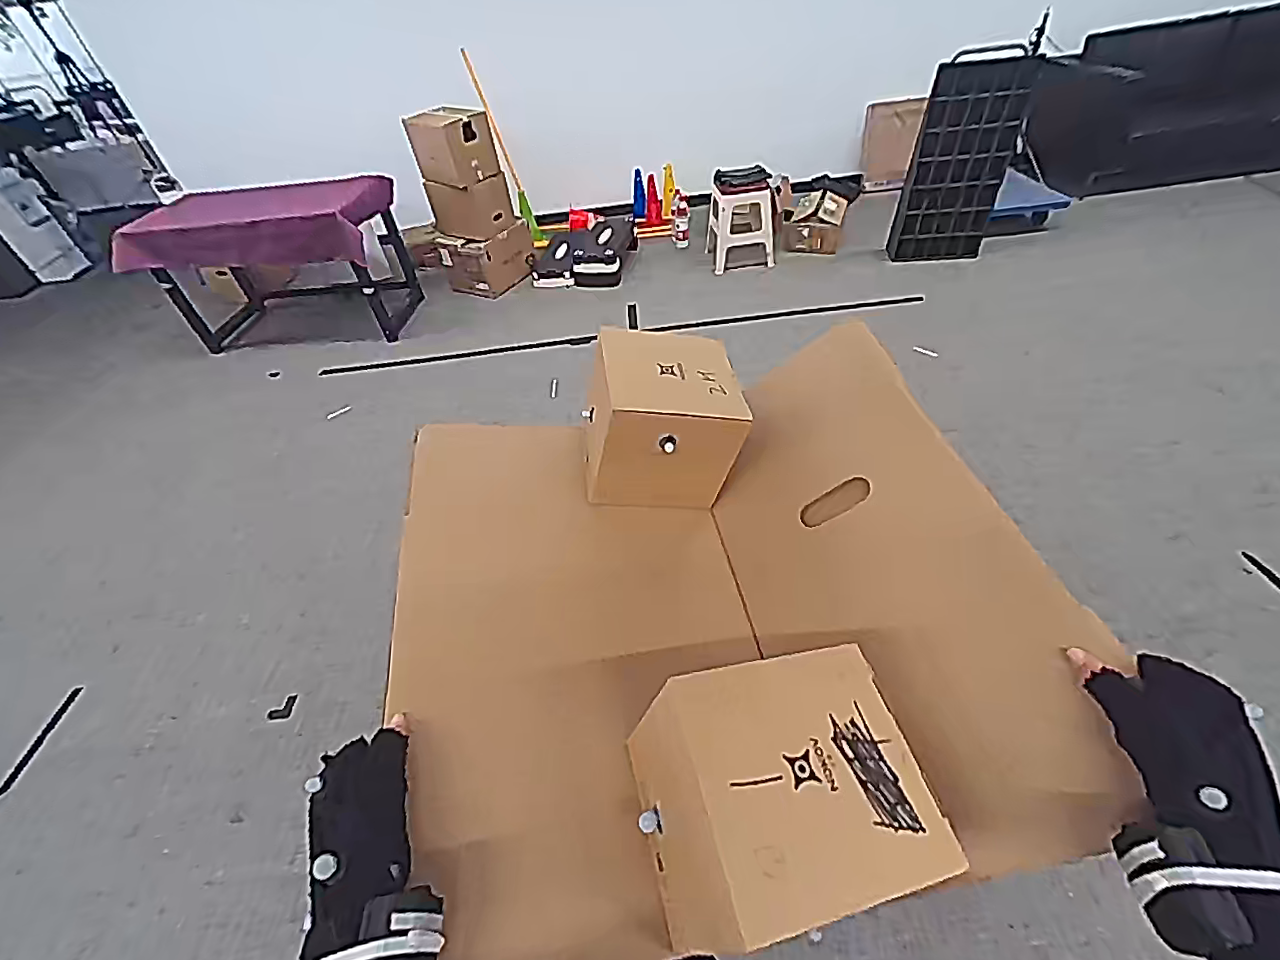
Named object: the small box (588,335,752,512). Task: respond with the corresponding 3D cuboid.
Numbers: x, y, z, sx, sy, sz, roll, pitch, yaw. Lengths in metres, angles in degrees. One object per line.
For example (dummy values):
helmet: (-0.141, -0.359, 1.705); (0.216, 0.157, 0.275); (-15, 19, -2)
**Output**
small box: (0.025, -0.071, 0.733); (0.179, 0.176, 0.168); (4, 48, -14)
